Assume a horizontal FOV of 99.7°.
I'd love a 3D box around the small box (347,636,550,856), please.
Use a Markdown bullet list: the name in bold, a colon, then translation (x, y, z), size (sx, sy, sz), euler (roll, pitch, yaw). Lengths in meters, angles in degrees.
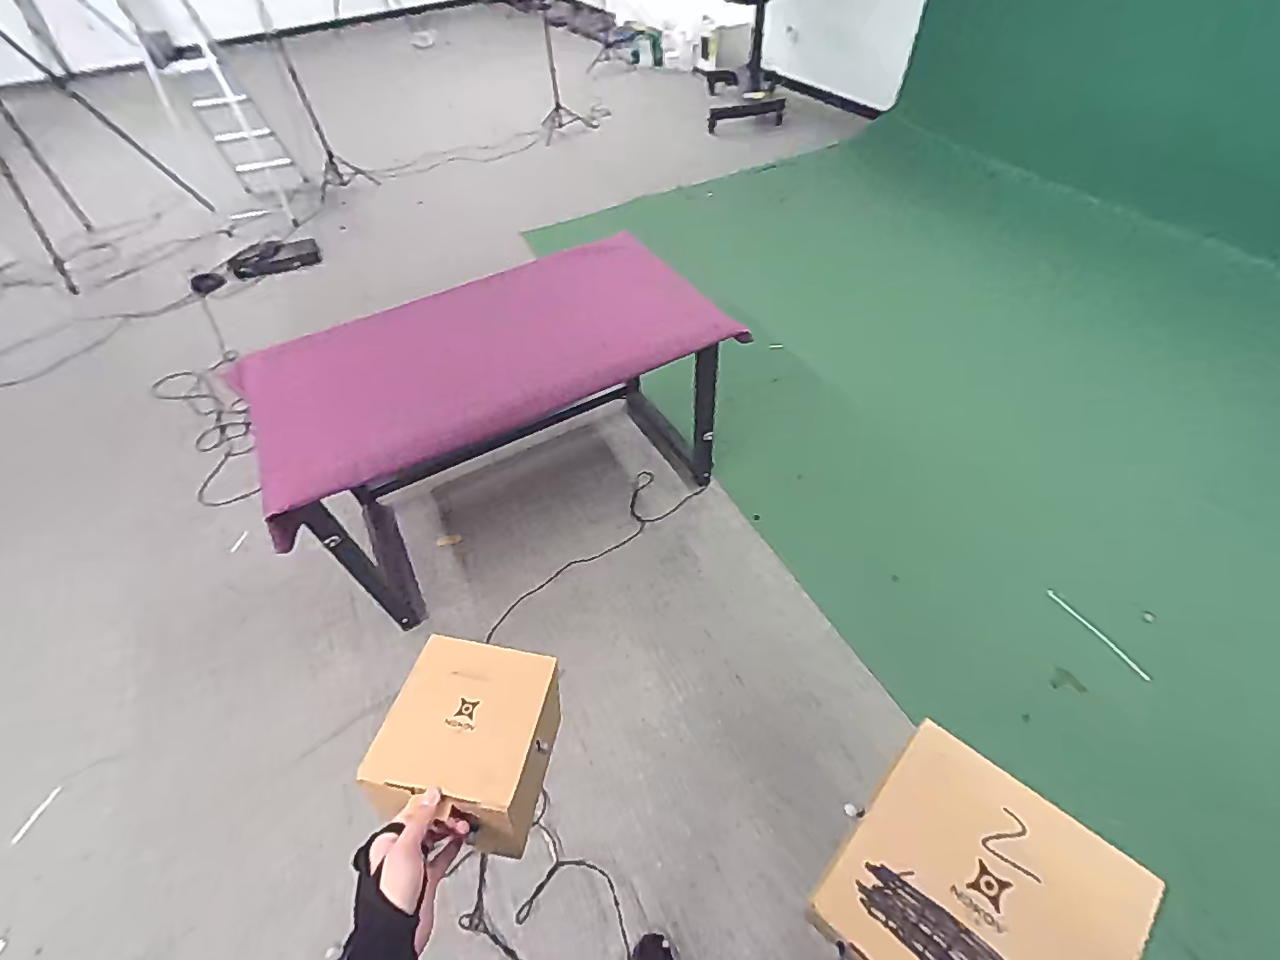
- **small box**: translation (-0.211, 0.323, 0.657), size (0.168, 0.176, 0.179), euler (10, 40, 5)
